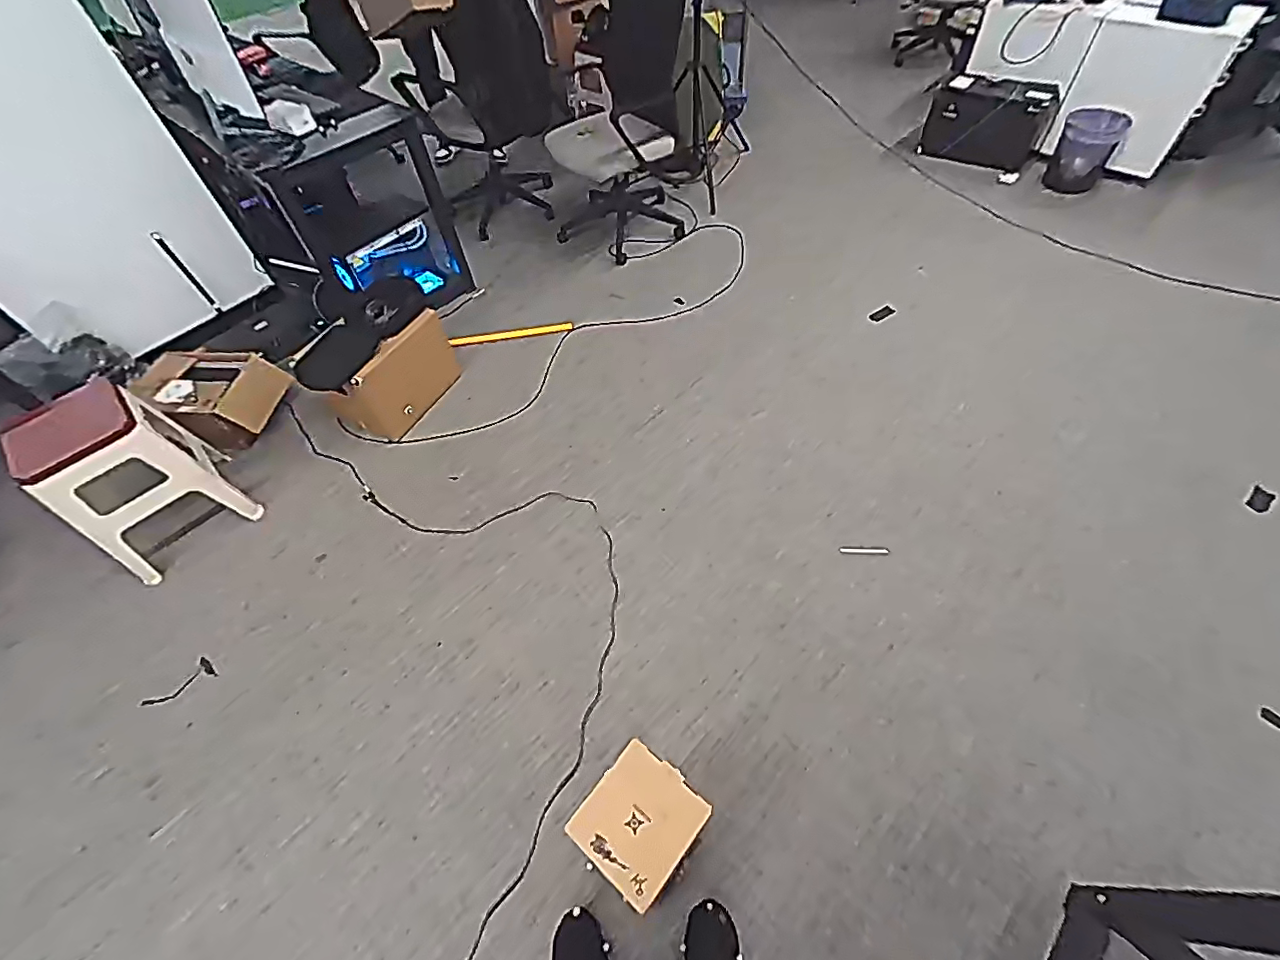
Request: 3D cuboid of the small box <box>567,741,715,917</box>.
[{"bbox_3d":[0.004,0.580,0.905,0.168,0.176,0.179,33,62,26],"label":"small box"}]
